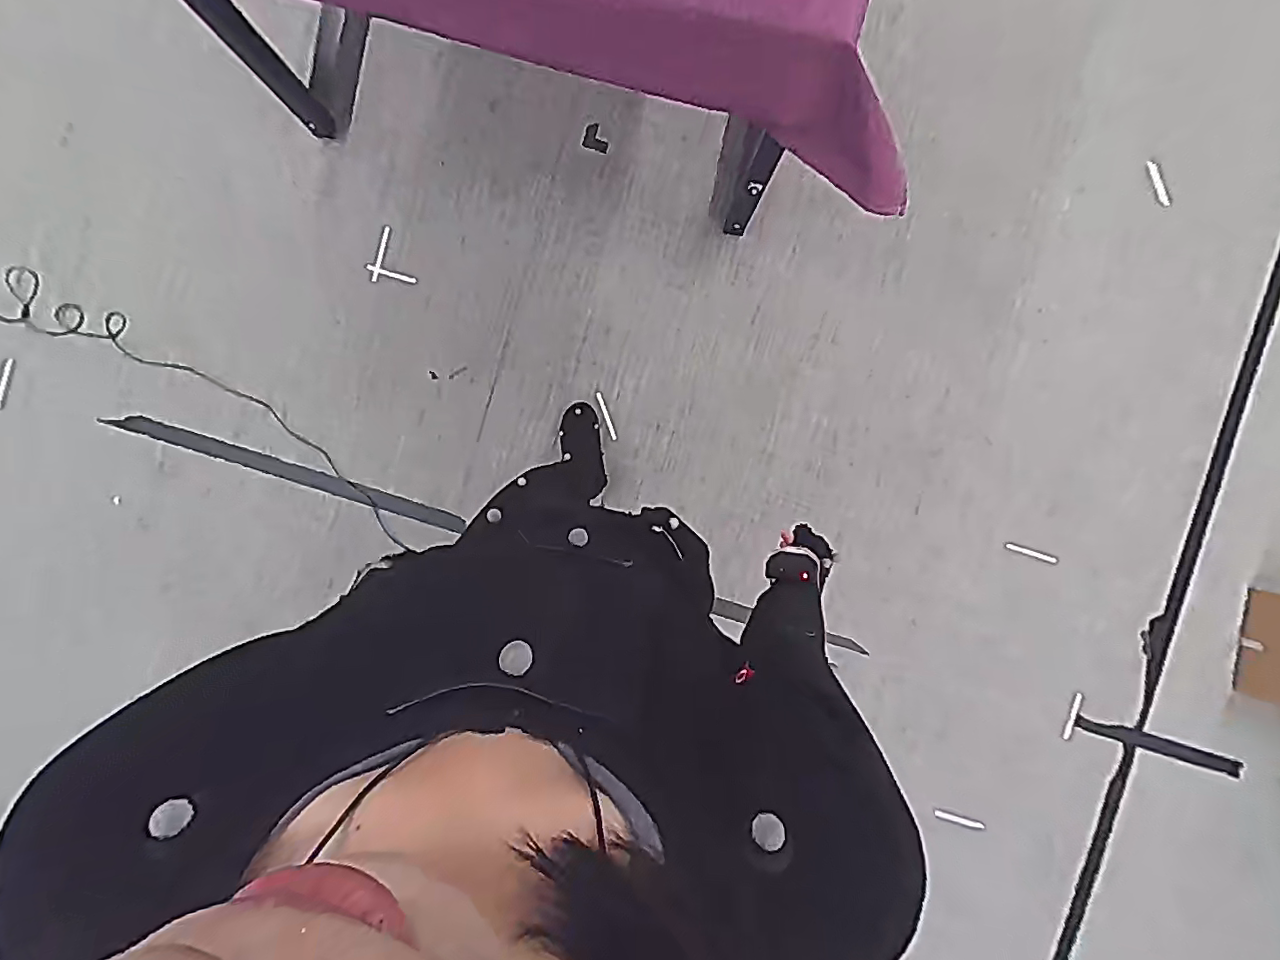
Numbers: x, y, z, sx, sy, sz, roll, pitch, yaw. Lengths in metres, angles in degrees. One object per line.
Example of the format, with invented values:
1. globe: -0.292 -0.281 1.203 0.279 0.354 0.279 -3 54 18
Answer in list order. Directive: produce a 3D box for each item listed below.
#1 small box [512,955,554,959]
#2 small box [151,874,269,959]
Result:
1. small box: -0.291 1.452 1.473 0.168 0.176 0.179 5 93 -2
2. small box: -1.144 1.217 1.440 0.168 0.176 0.179 32 91 -2
